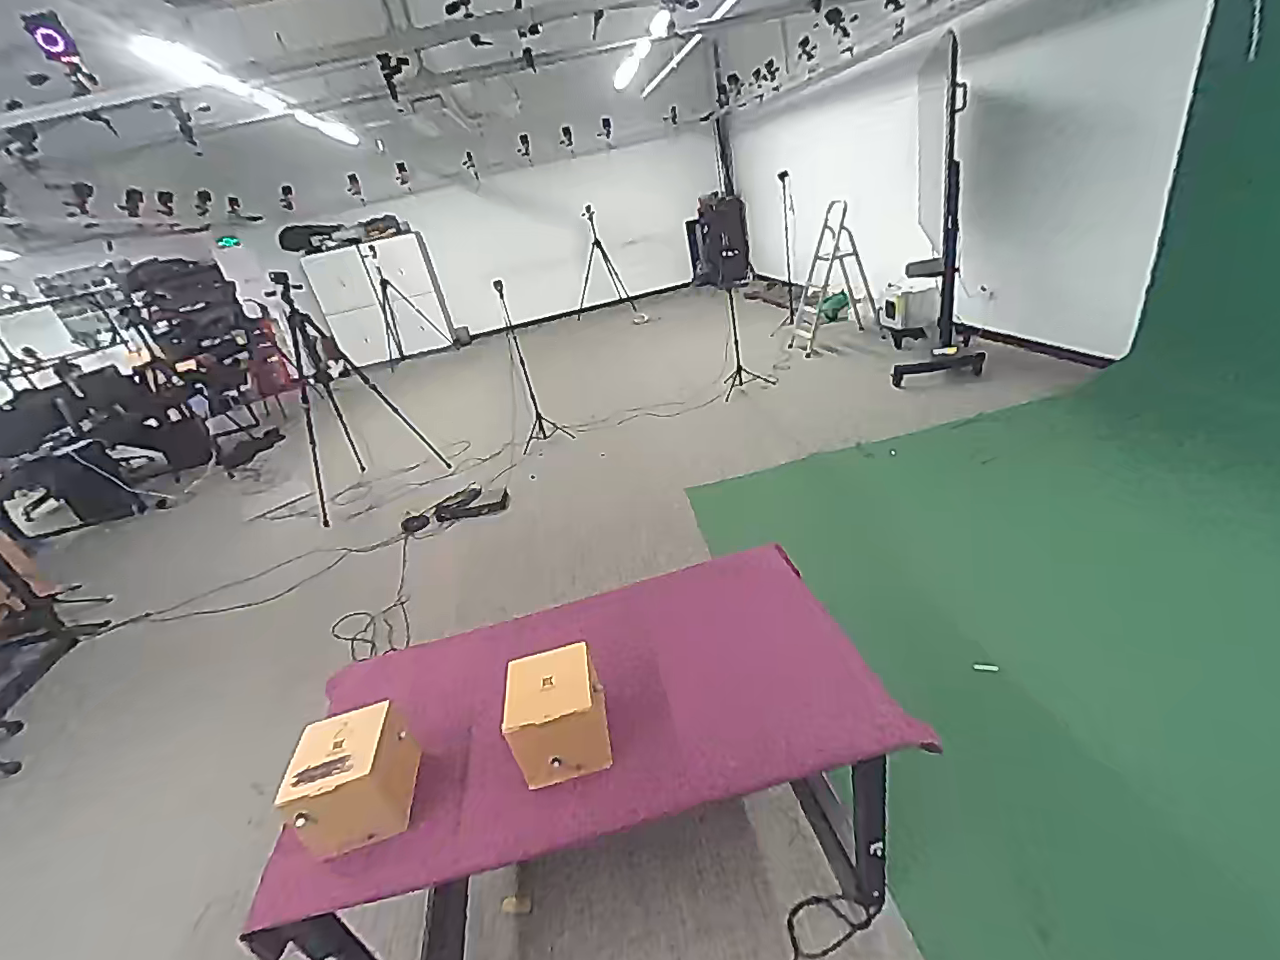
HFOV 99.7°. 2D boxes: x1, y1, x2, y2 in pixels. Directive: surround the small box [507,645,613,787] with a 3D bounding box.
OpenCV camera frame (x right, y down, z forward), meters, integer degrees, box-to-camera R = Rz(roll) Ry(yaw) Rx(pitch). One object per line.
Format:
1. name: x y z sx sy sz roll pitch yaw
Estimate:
1. small box: -0.156 0.465 1.073 0.168 0.176 0.179 -14 27 -3
